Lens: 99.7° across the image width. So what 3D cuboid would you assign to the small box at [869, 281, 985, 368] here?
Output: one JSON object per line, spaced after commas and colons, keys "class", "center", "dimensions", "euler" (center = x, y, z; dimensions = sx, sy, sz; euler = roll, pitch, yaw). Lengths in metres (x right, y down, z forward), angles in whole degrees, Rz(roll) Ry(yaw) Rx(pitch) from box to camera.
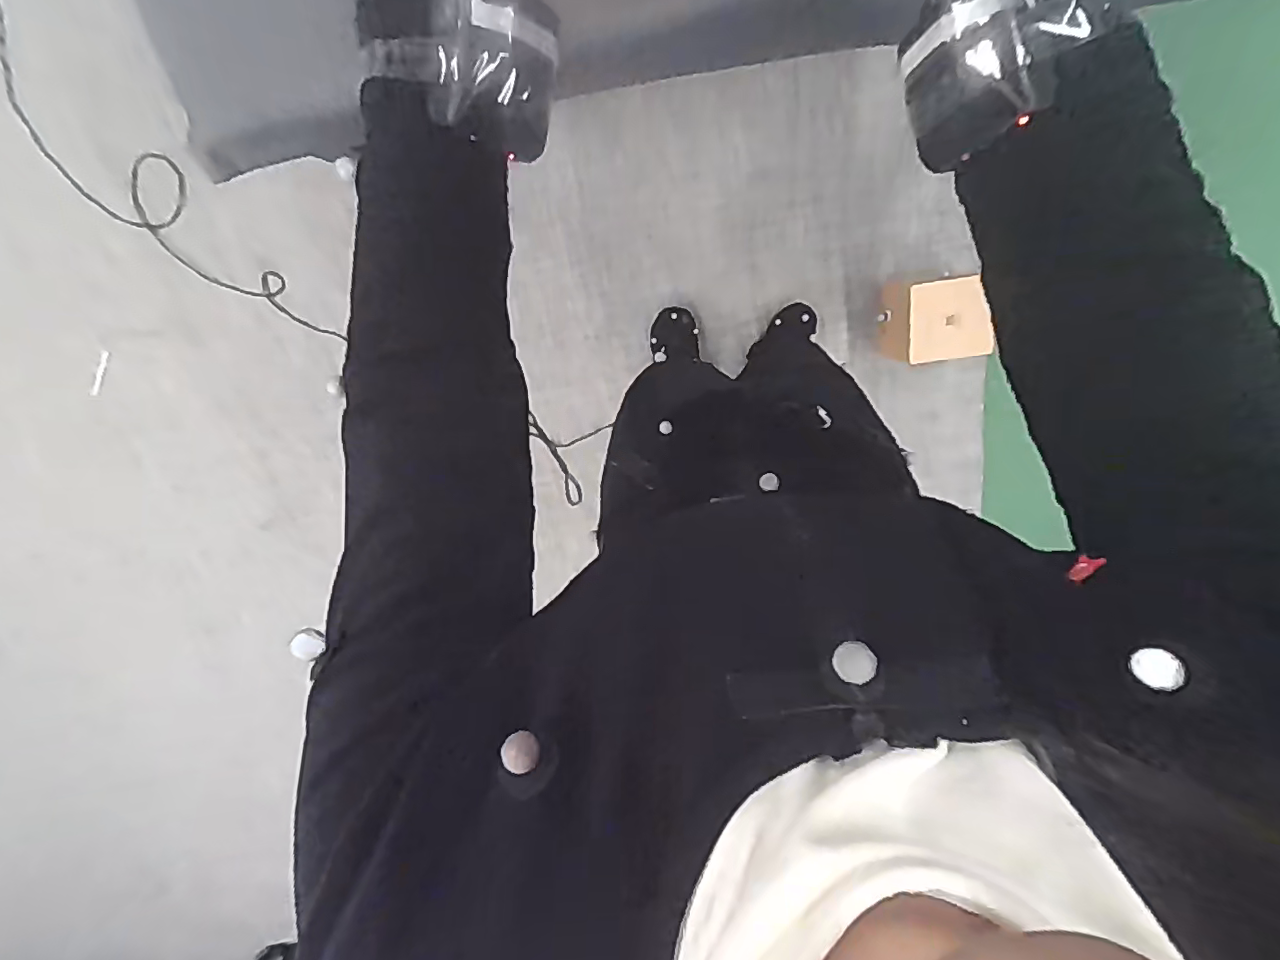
{"class": "small box", "center": [0.639, -0.355, 1.222], "dimensions": [0.179, 0.176, 0.168], "euler": [-6, 109, 6]}
